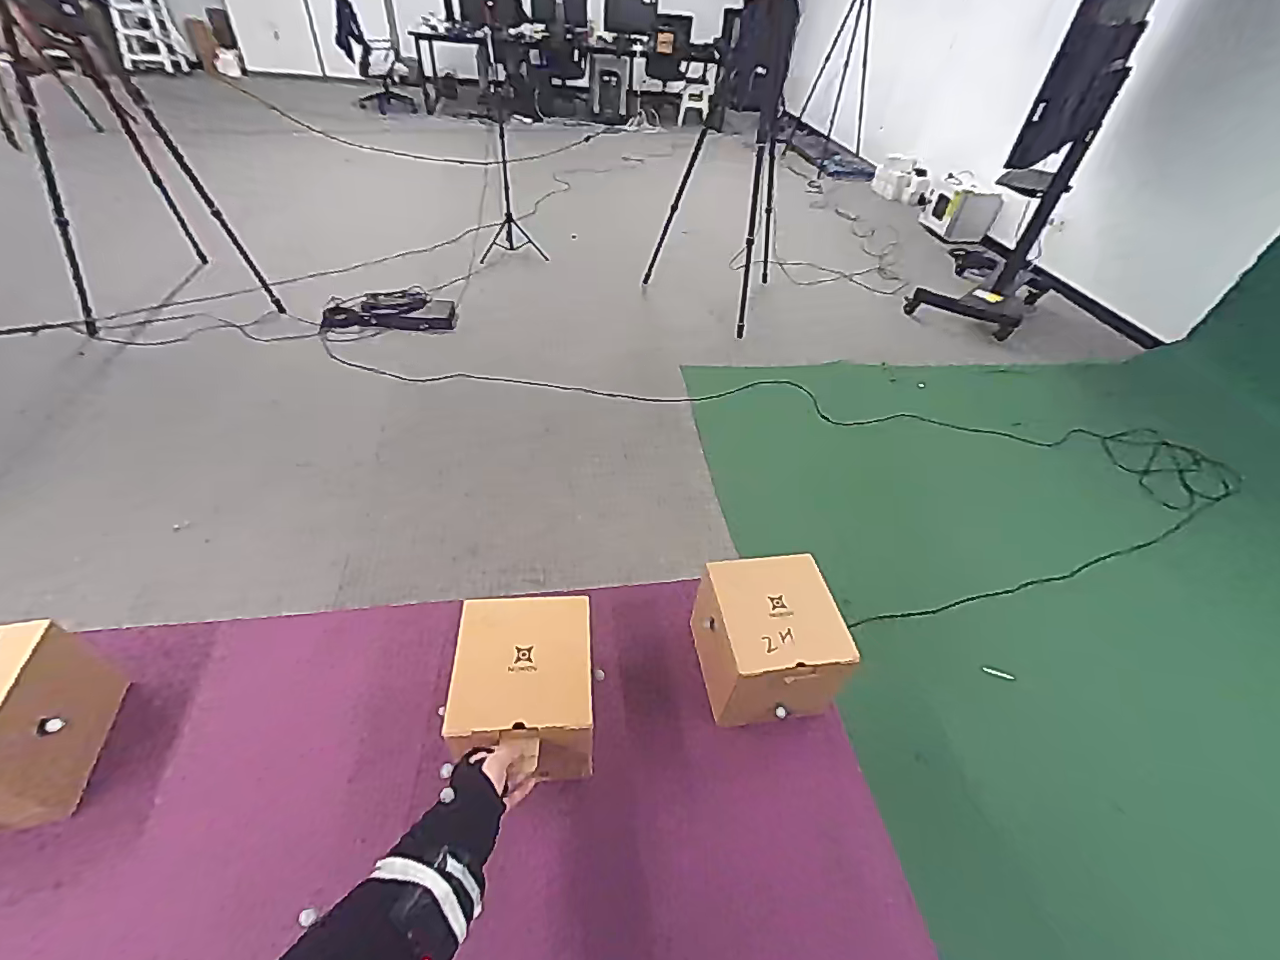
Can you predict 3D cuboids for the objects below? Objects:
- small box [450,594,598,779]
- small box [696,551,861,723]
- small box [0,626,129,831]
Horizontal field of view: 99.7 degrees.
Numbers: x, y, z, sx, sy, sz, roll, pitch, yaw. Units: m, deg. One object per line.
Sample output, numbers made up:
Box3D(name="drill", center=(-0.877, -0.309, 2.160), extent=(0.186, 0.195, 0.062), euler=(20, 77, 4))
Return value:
Box3D(name="small box", center=(-0.144, 0.272, 0.720), extent=(0.168, 0.176, 0.179), euler=(-1, 45, -7))
Box3D(name="small box", center=(0.185, 0.229, 0.792), extent=(0.168, 0.176, 0.179), euler=(-4, 45, -8))
Box3D(name="small box", center=(-0.759, 0.299, 0.628), extent=(0.168, 0.176, 0.179), euler=(-6, 46, -13))
